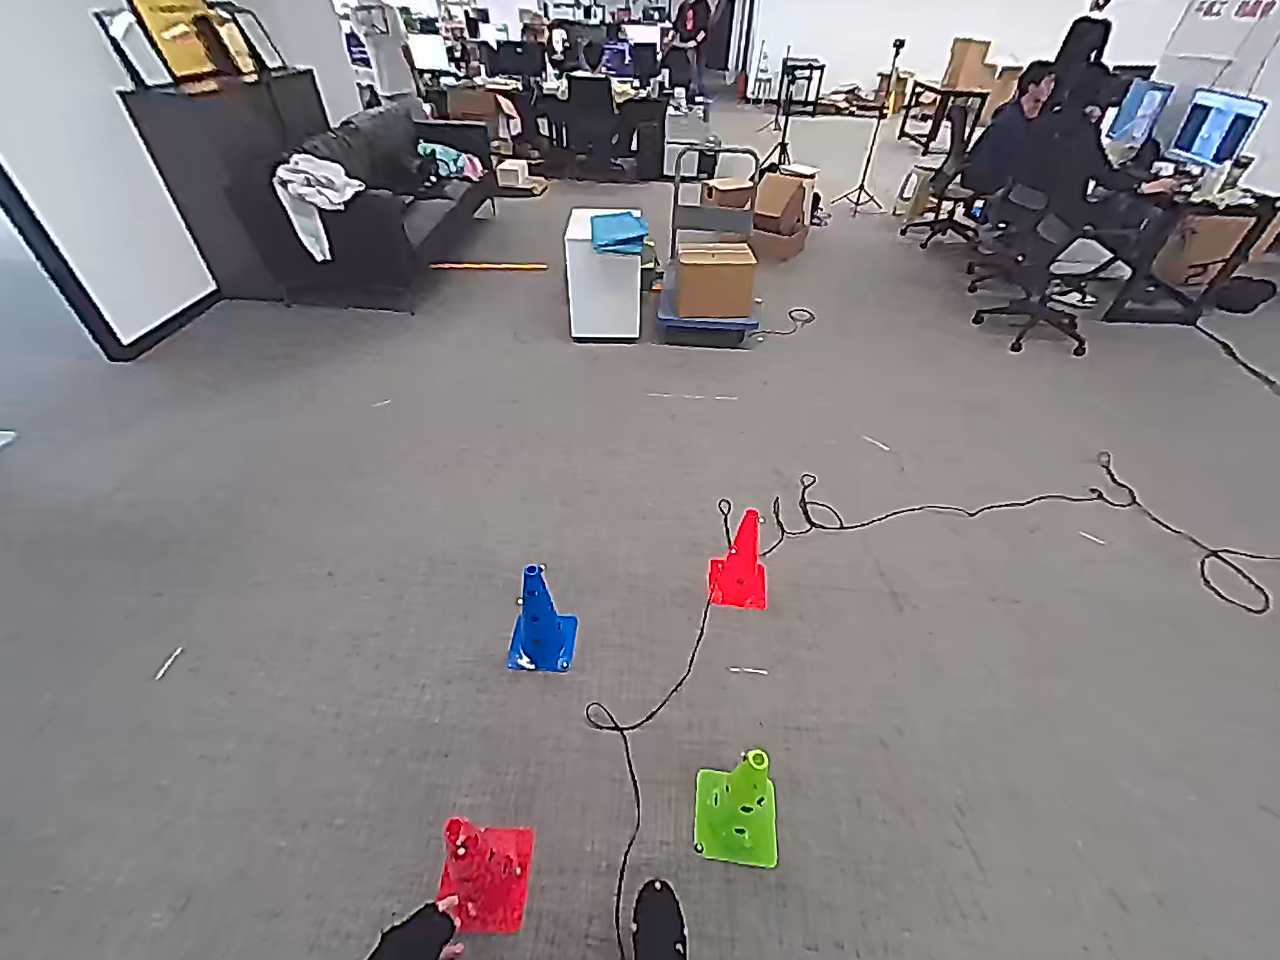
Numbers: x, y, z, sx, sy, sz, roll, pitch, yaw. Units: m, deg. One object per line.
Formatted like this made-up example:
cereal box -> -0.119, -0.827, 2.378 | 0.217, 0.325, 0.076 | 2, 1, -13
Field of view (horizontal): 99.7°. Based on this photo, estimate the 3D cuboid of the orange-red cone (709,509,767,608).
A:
orange-red cone -> 0.344, 0.233, 1.783 | 0.198, 0.360, 0.199 | 6, 43, 7

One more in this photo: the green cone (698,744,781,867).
green cone -> 0.250, 0.709, 1.236 | 0.200, 0.368, 0.202 | 5, 41, 4
